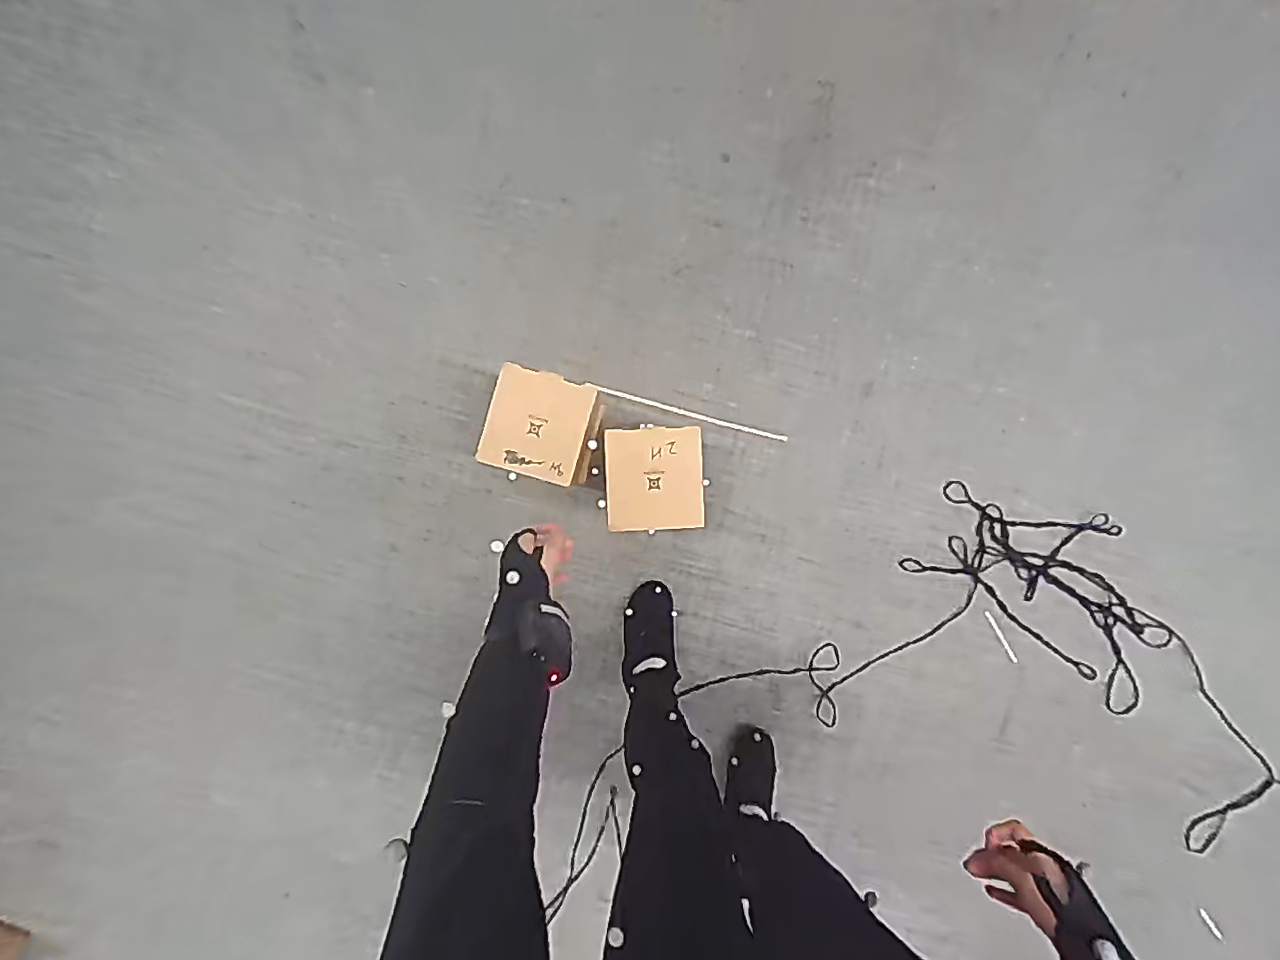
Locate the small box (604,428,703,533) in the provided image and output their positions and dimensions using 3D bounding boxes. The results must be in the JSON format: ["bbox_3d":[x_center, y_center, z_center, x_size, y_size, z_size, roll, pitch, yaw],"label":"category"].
[{"bbox_3d":[0.022,0.000,0.985,0.168,0.176,0.179,-2,89,-2],"label":"small box"}]

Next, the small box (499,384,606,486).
[{"bbox_3d":[-0.174,-0.090,1.140,0.179,0.176,0.168,15,89,-1],"label":"small box"}]
